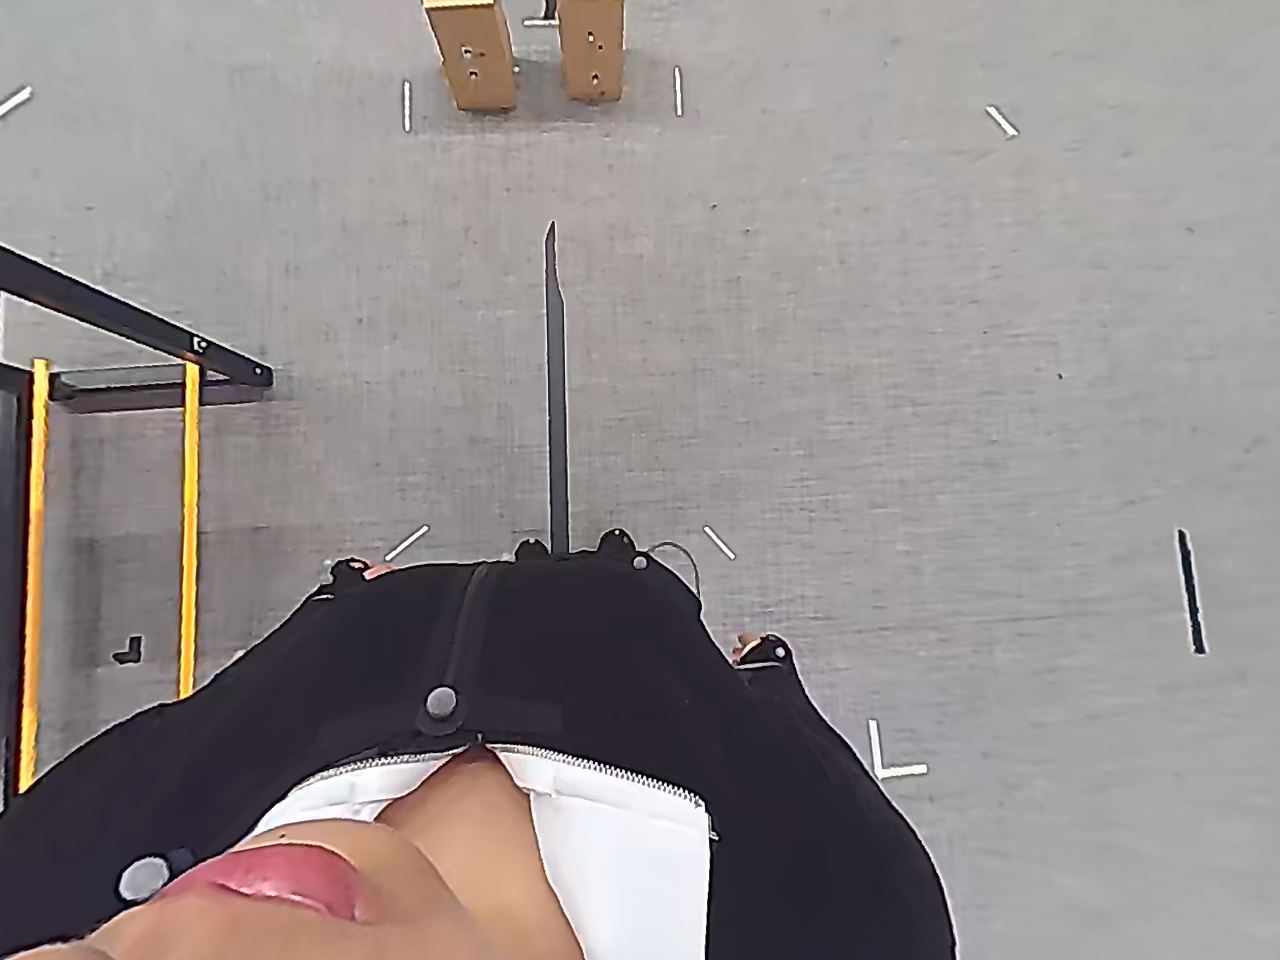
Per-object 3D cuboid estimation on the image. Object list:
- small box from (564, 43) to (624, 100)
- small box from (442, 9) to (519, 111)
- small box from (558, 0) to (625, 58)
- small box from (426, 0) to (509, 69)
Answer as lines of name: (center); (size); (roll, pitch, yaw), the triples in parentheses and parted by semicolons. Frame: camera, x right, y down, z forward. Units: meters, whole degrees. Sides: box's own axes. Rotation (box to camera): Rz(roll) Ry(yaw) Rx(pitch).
small box: (-0.130, -1.226, 1.545); (0.168, 0.176, 0.179); (-3, 86, -3)
small box: (-0.446, -1.175, 1.521); (0.179, 0.176, 0.168); (-4, 86, -4)
small box: (-0.124, -1.233, 1.379); (0.168, 0.176, 0.179); (-1, 86, -3)
small box: (-0.433, -1.186, 1.360); (0.168, 0.176, 0.179); (-7, 87, -2)
